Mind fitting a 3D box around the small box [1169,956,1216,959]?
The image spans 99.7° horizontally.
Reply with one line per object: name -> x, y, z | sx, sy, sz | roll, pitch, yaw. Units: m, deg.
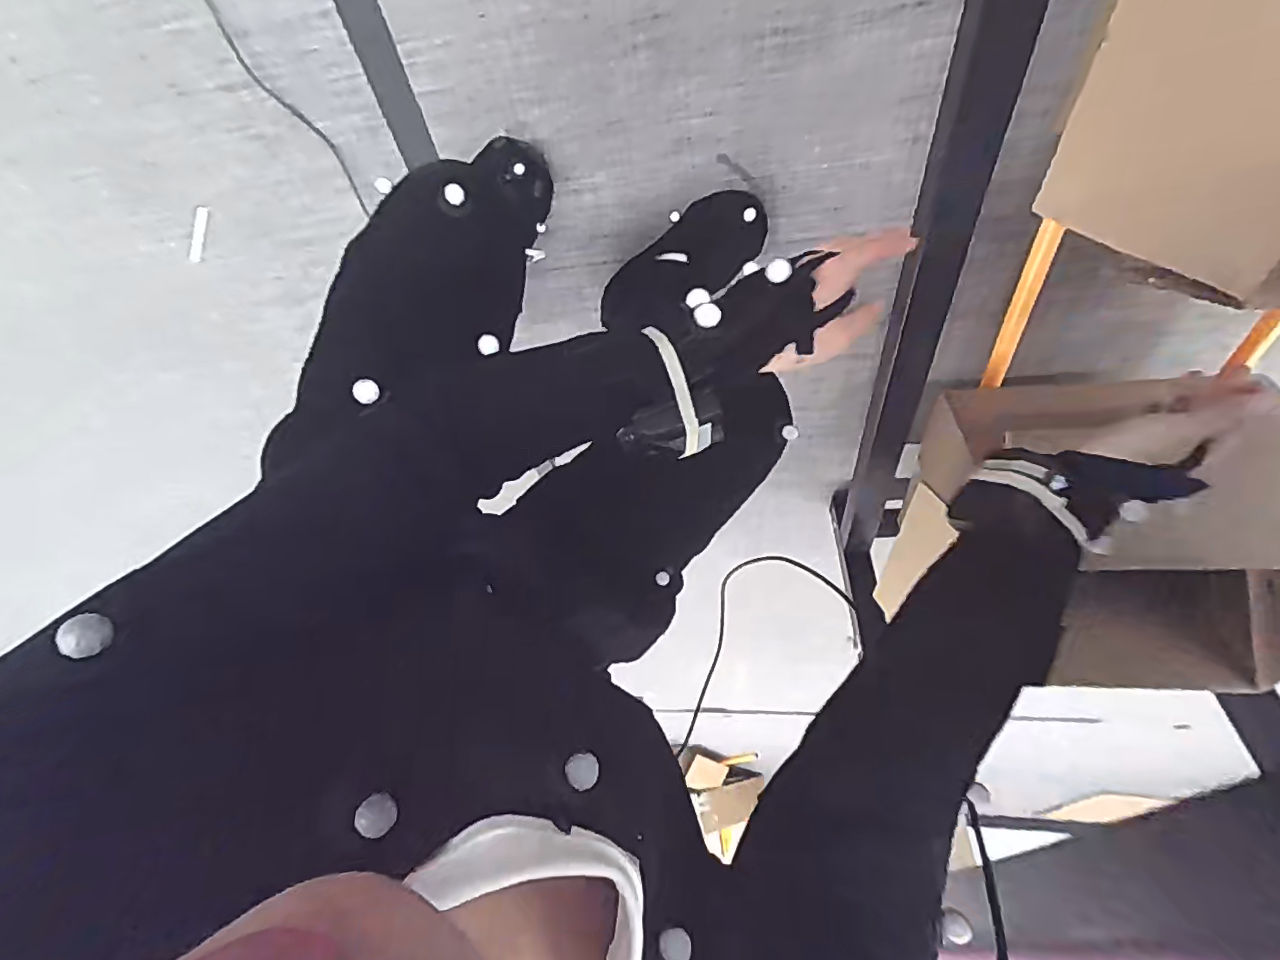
small box -> 0.554, 0.533, 0.469 | 0.168, 0.176, 0.179 | 0, 139, 5
